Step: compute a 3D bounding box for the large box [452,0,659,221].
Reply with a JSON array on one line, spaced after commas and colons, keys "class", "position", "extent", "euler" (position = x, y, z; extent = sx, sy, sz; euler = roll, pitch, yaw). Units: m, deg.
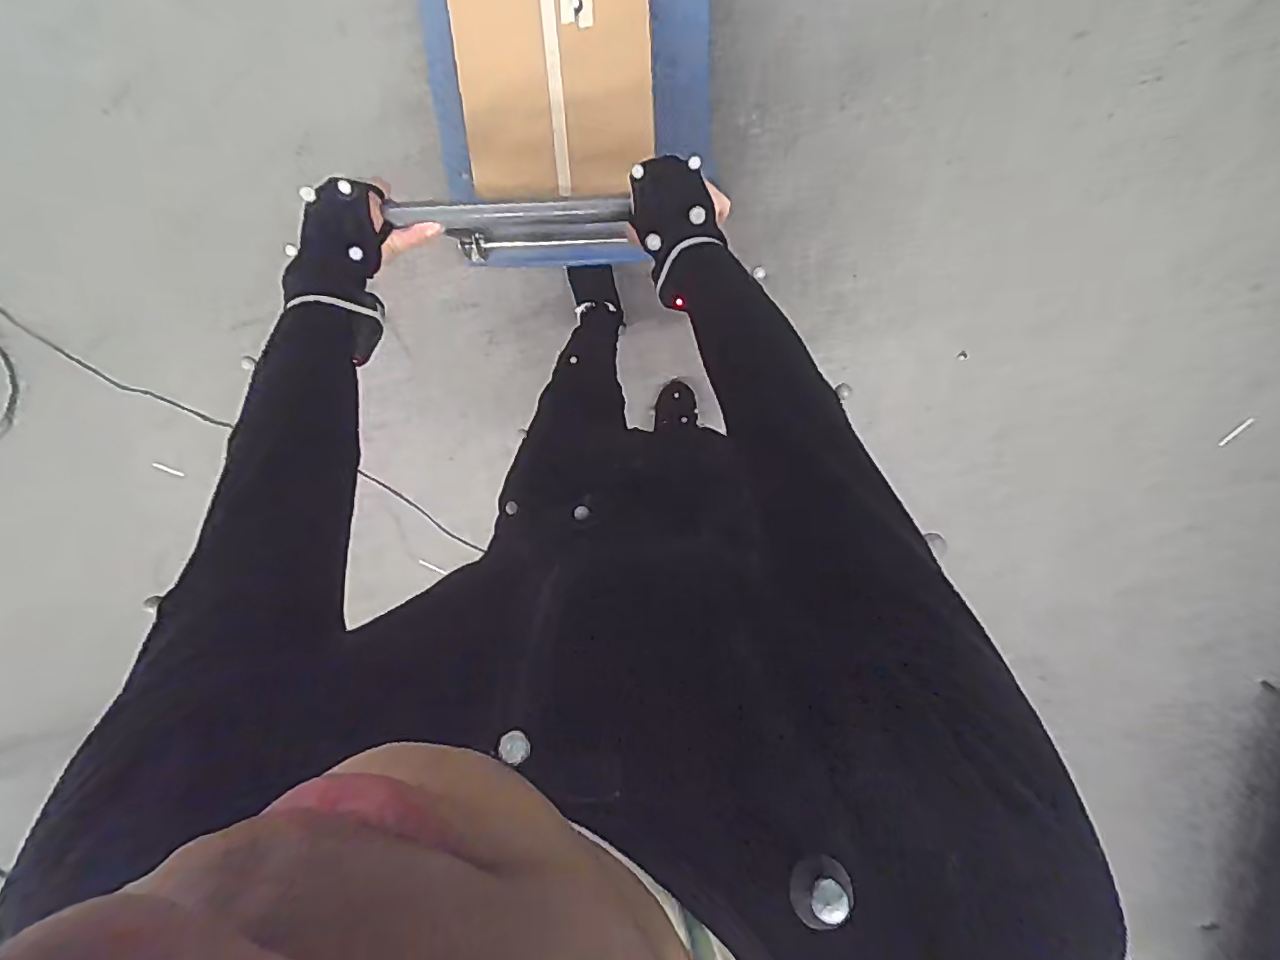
[{"class": "large box", "position": [-0.127, -0.720, 1.002], "extent": [0.320, 0.320, 0.408], "euler": [-2, 112, 2]}]
